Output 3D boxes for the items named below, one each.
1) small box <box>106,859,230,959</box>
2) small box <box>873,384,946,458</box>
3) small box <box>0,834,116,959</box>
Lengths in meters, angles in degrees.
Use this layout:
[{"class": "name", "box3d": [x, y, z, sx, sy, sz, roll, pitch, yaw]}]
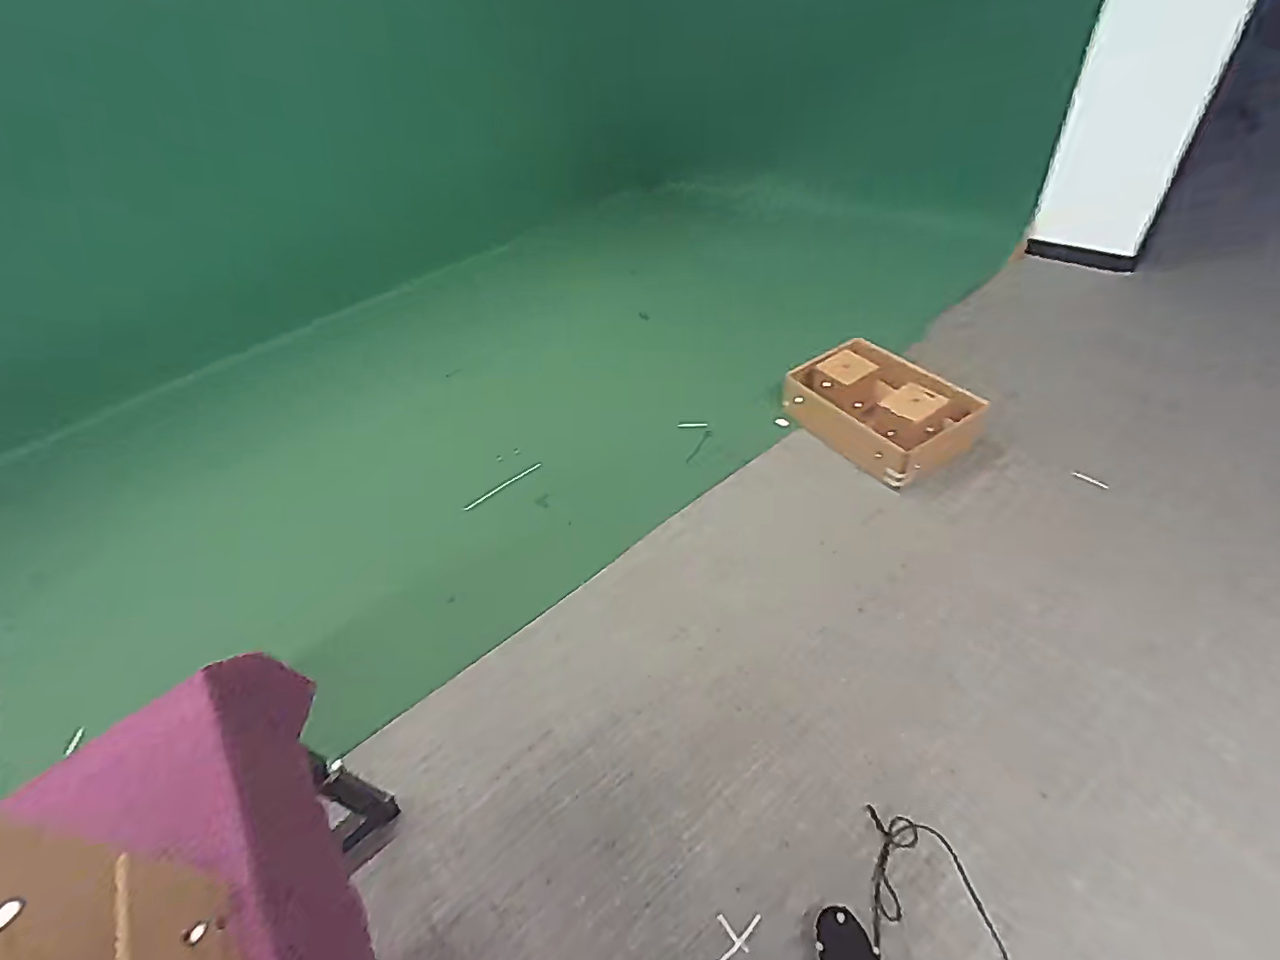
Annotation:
[{"class": "small box", "box3d": [-0.575, 0.558, 0.577, 0.179, 0.176, 0.168, -34, 48, -20]}, {"class": "small box", "box3d": [0.966, -0.210, 1.955, 0.179, 0.176, 0.168, -32, 47, -16]}, {"class": "small box", "box3d": [-0.609, 0.442, 0.466, 0.168, 0.176, 0.179, -34, 47, -20]}]
